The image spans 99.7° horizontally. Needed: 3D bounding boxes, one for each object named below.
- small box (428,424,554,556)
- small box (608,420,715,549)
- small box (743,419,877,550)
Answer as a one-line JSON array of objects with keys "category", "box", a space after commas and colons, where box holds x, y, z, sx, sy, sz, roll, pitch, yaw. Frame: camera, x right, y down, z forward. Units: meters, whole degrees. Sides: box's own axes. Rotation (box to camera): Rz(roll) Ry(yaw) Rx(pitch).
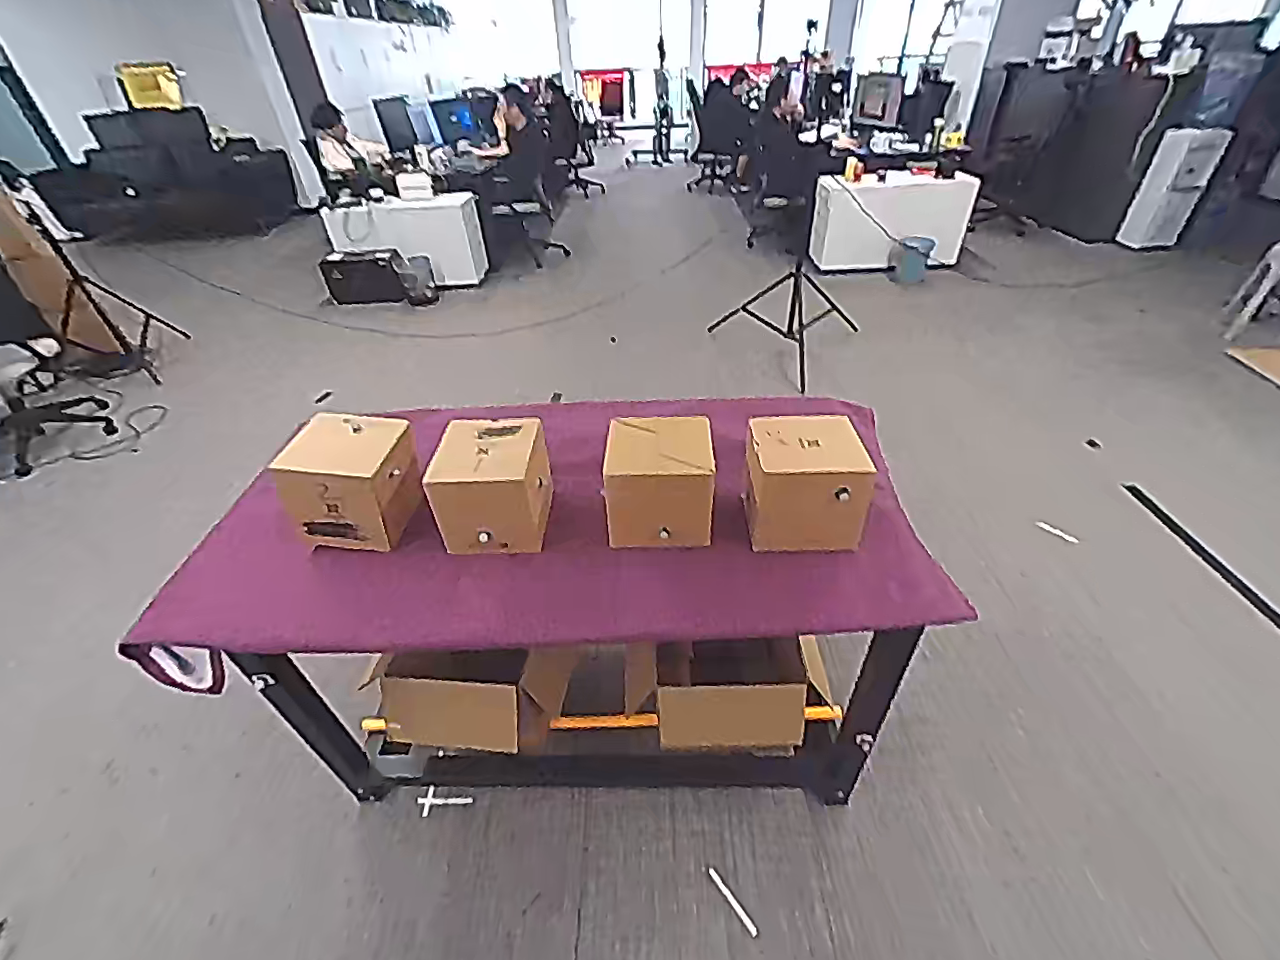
[{"category": "small box", "box": [-0.253, 0.017, 0.969, 0.168, 0.176, 0.179, -2, 39, 2]}, {"category": "small box", "box": [0.036, 0.005, 0.957, 0.179, 0.176, 0.168, -1, 37, 3]}, {"category": "small box", "box": [0.281, 0.008, 0.937, 0.179, 0.176, 0.168, -1, 36, 3]}]
